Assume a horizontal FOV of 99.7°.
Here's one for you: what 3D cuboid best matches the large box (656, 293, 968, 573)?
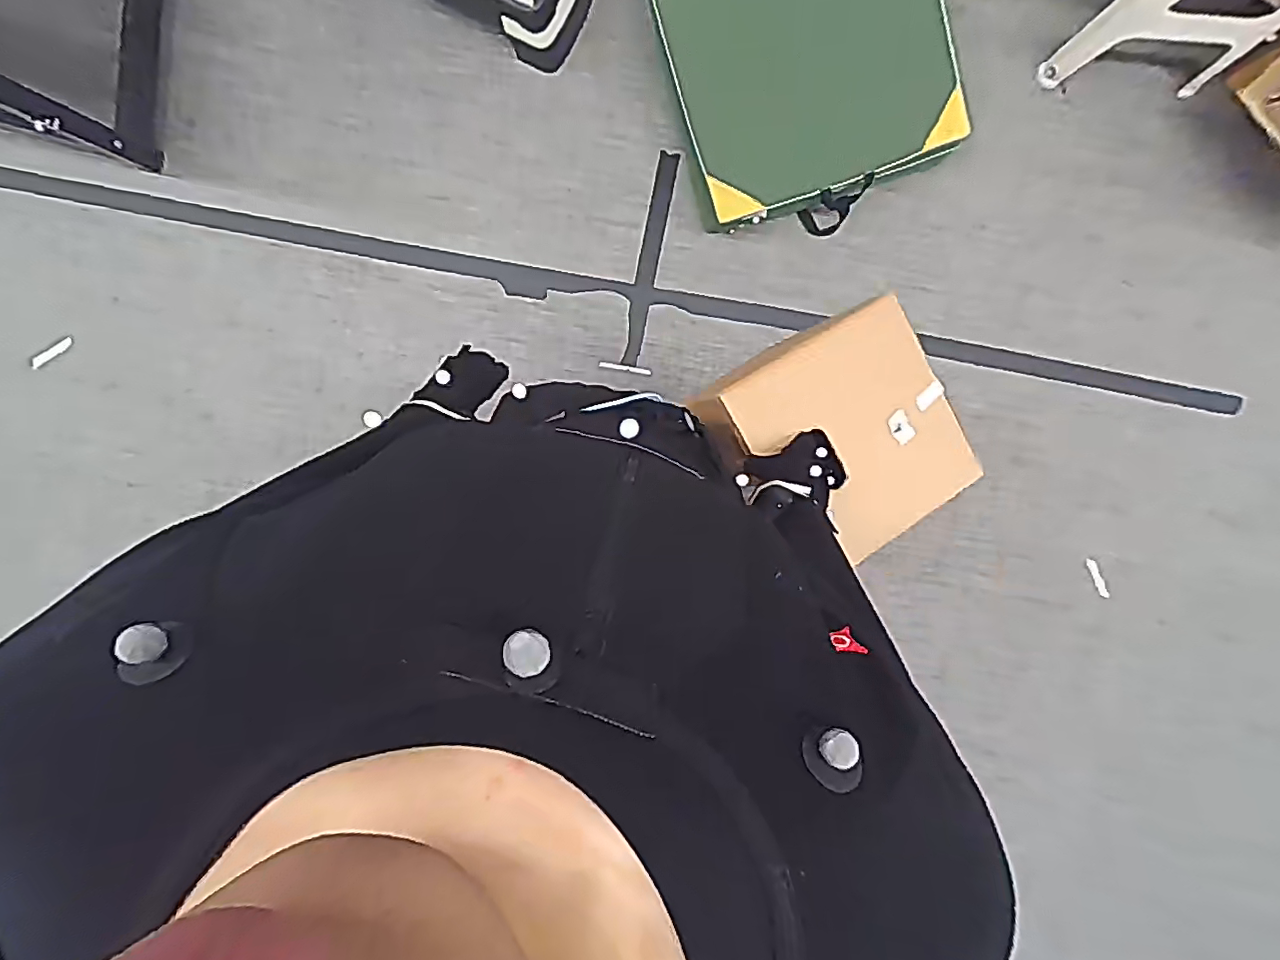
[{"bbox_3d":[0.270,-0.074,0.975,0.320,0.408,0.320,-32,97,-8],"label":"large box"}]
